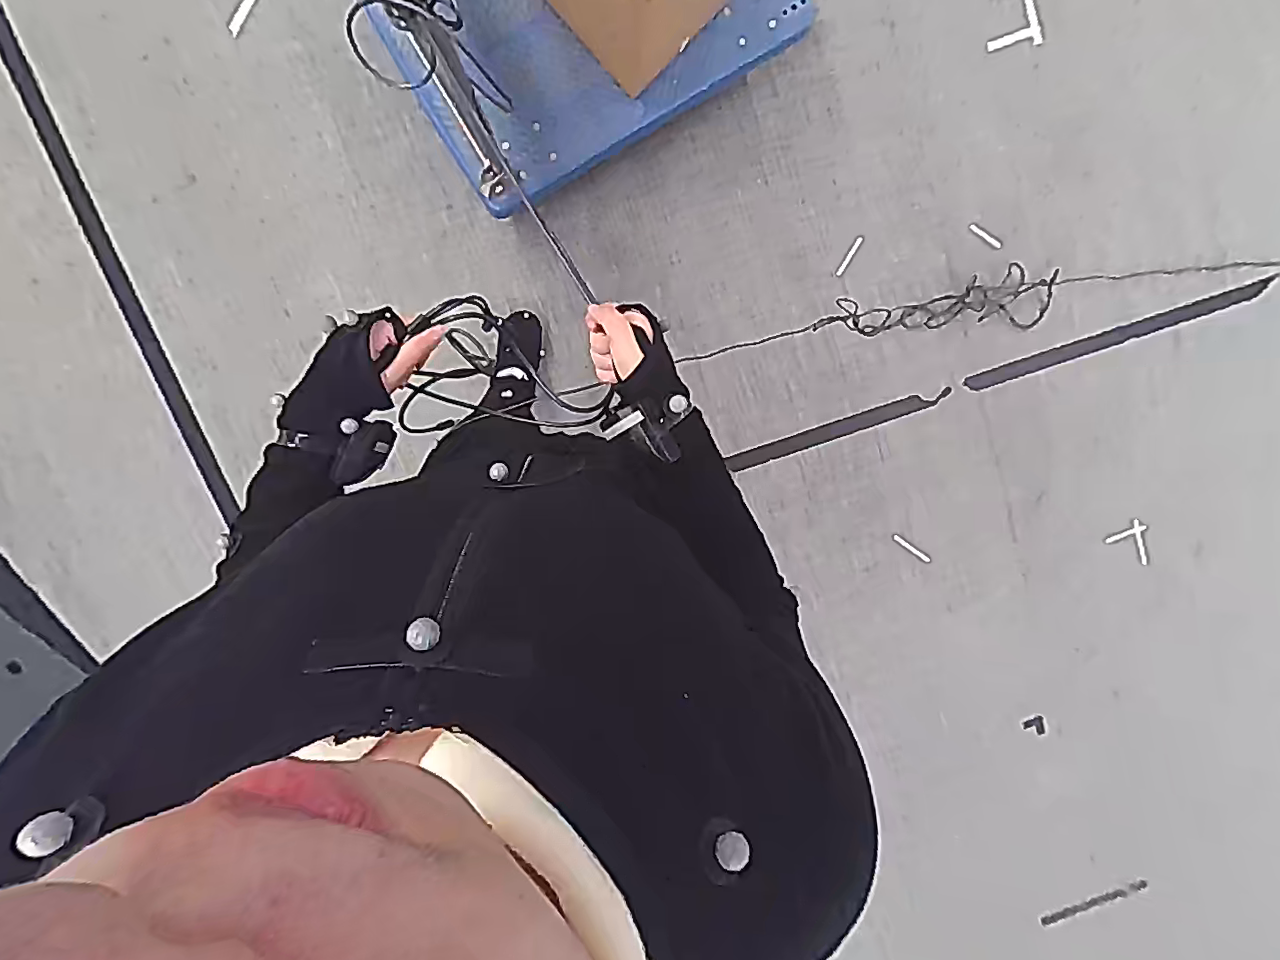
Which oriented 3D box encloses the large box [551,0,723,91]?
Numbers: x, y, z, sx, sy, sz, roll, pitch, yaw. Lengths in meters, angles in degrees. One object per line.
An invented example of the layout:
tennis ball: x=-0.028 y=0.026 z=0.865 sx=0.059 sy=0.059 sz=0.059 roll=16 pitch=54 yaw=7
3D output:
large box: x=-0.032 y=-1.075 z=1.013 sx=0.408 sy=0.320 sz=0.320 roll=44 pitch=92 yaw=-11
